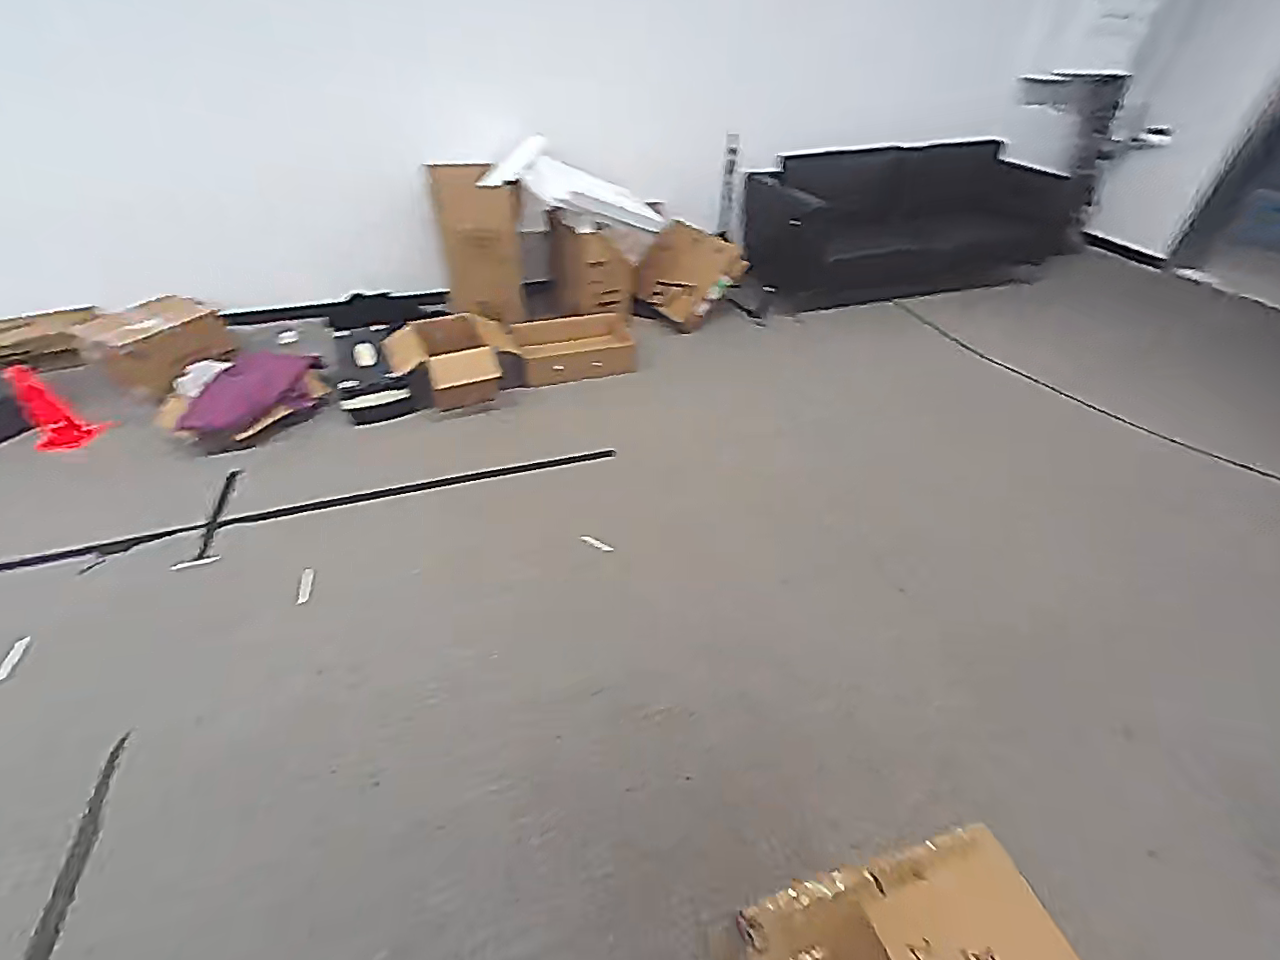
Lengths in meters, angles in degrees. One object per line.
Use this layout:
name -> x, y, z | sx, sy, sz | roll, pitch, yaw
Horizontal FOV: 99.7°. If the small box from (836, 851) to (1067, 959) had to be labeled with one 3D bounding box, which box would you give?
small box -> 0.351, 0.556, 0.605 | 0.179, 0.176, 0.168 | -12, 42, -13
